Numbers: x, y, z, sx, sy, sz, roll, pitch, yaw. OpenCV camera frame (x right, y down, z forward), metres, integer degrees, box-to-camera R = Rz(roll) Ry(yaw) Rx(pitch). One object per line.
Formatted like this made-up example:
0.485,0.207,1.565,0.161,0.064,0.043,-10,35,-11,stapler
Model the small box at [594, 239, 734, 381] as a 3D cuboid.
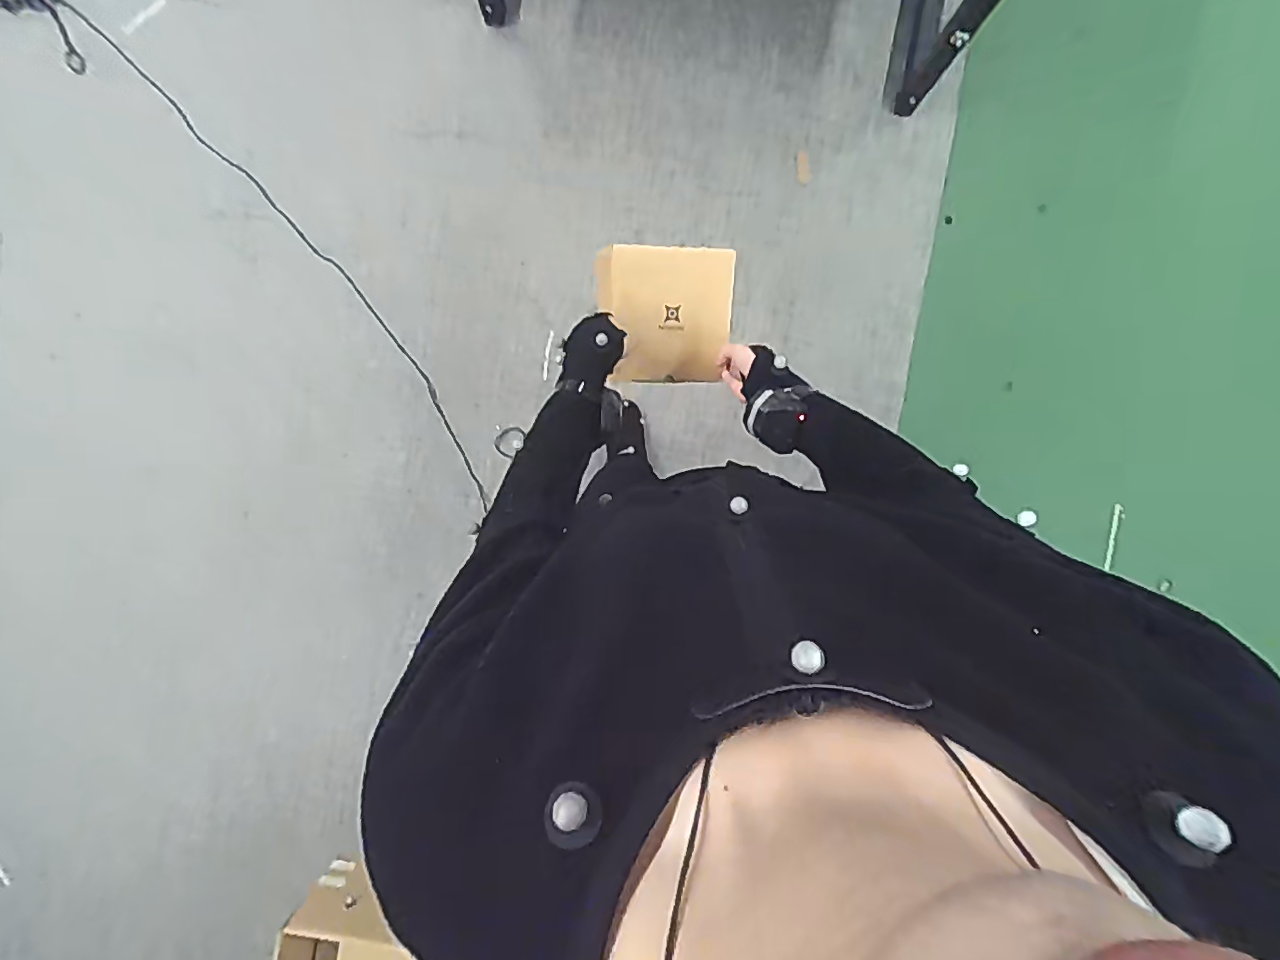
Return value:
0.024,-0.246,0.782,0.168,0.176,0.179,-2,112,-11,small box
